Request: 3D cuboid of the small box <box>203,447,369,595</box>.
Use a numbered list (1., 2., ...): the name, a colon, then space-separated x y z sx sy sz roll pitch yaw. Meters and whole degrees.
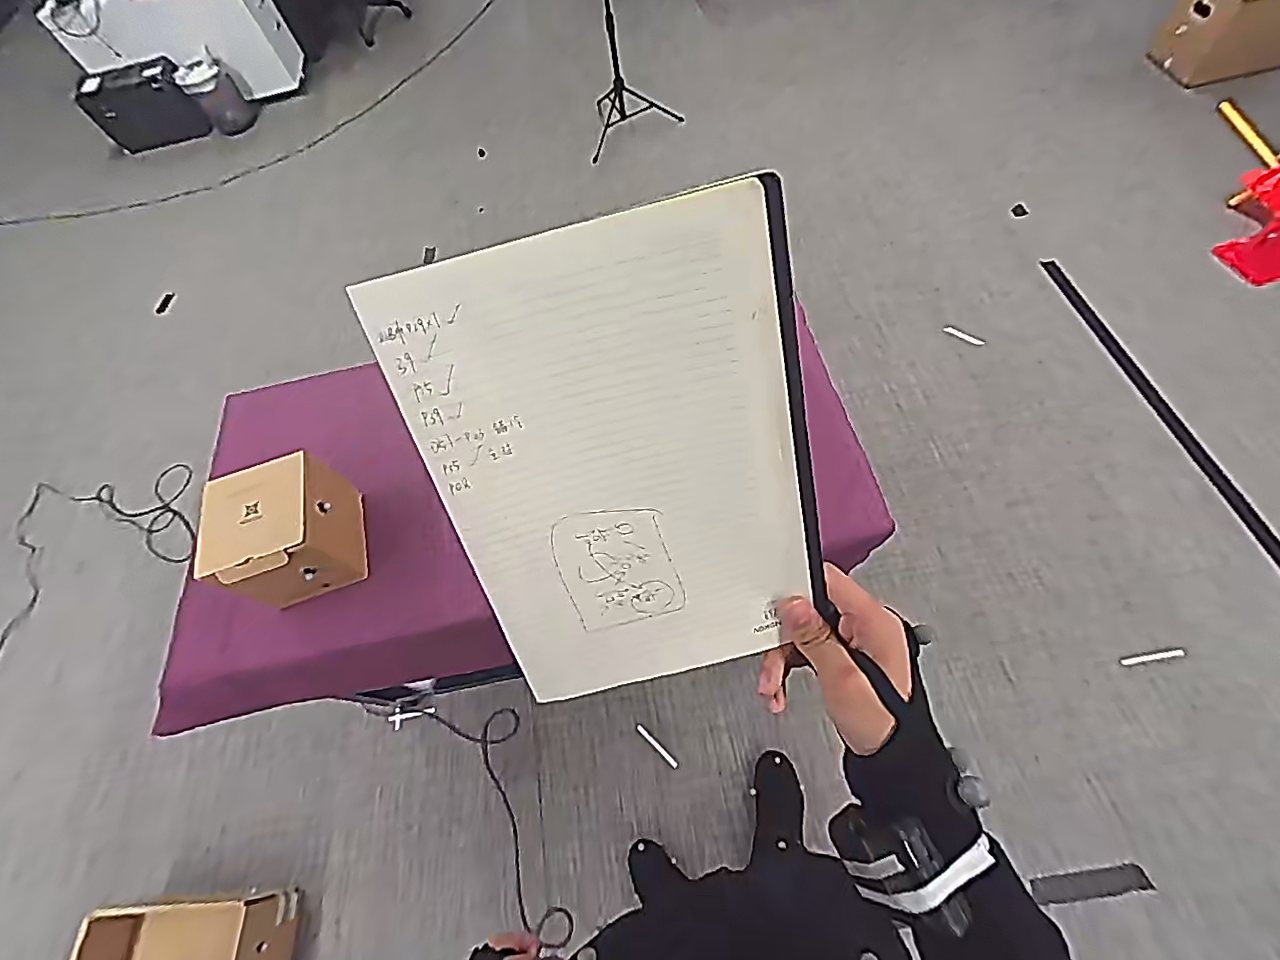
1. small box: -0.574 0.078 0.898 0.168 0.176 0.179 -18 61 -2
